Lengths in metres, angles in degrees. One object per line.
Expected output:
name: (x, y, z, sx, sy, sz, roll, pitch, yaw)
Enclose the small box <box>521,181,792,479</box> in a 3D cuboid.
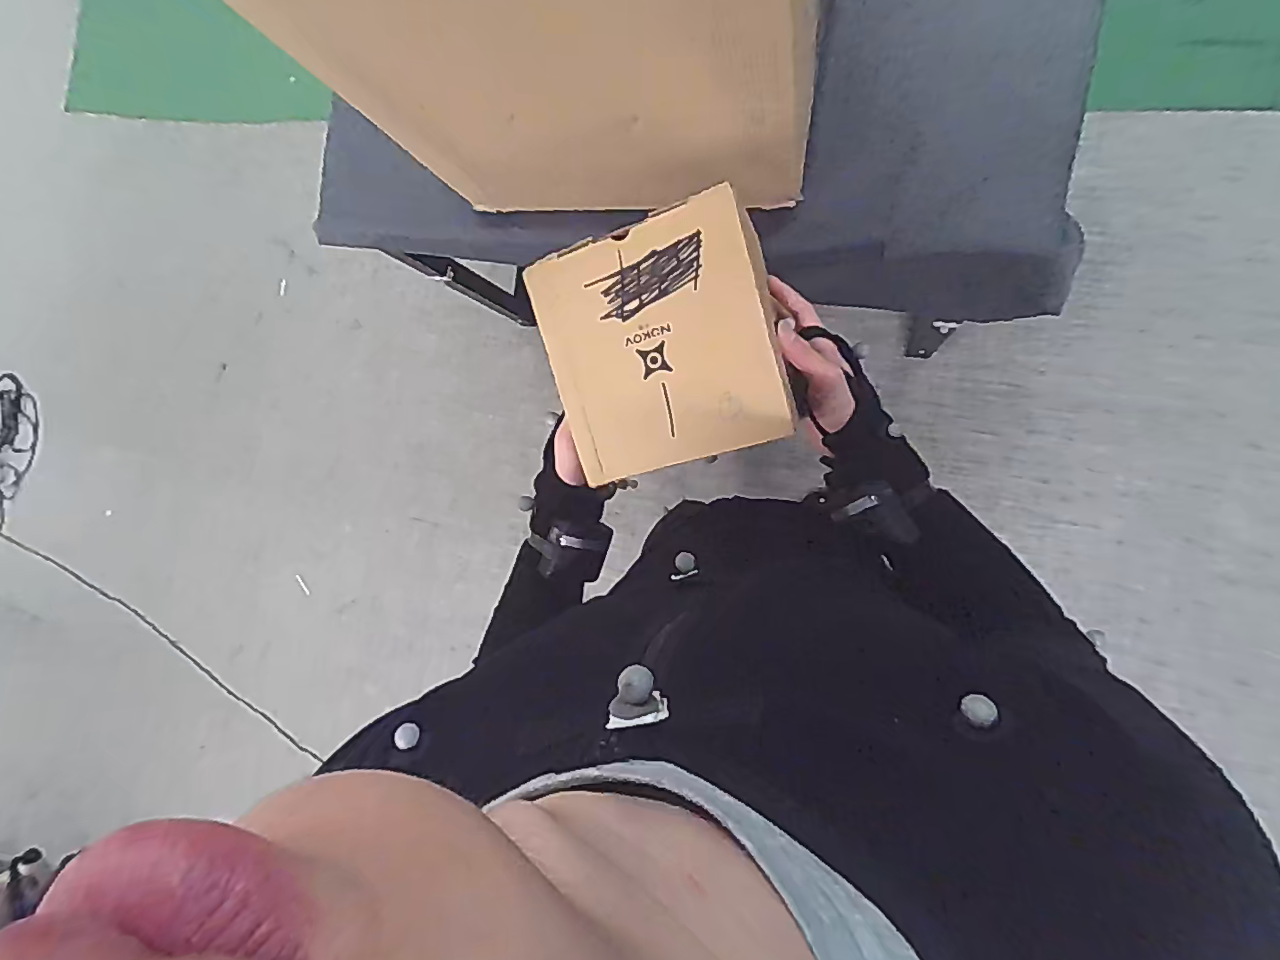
small box: (0.029, -0.115, 0.466, 0.168, 0.176, 0.179, -13, 98, 21)
